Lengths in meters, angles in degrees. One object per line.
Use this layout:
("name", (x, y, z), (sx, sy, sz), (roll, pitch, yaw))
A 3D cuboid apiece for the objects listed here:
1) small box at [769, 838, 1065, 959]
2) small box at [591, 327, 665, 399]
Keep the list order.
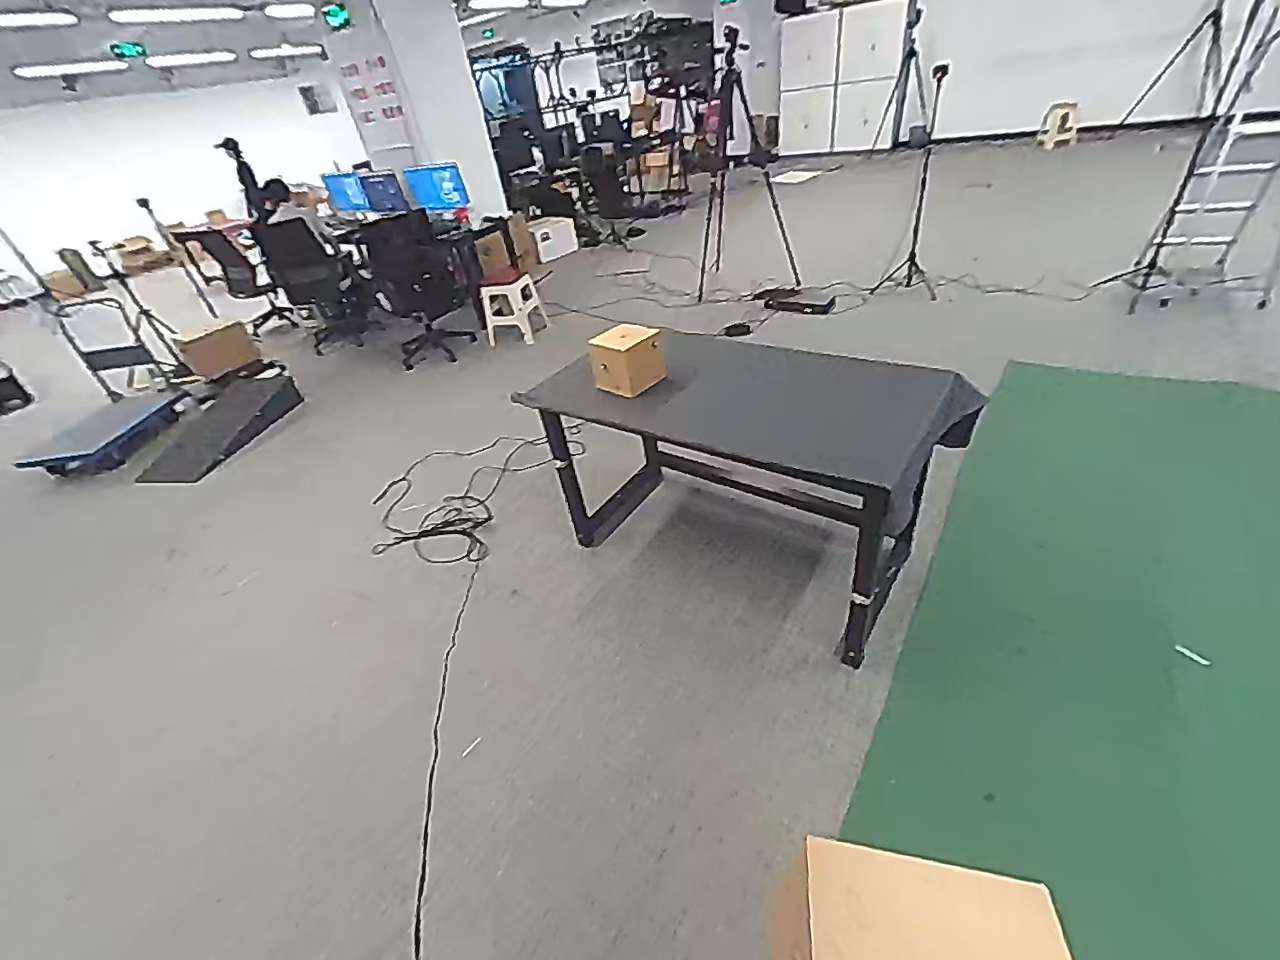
("small box", (0.184, 0.391, 0.375), (0.168, 0.176, 0.179), (7, 40, 8))
("small box", (-0.031, -0.382, 1.769), (0.168, 0.176, 0.179), (22, 46, 36))
